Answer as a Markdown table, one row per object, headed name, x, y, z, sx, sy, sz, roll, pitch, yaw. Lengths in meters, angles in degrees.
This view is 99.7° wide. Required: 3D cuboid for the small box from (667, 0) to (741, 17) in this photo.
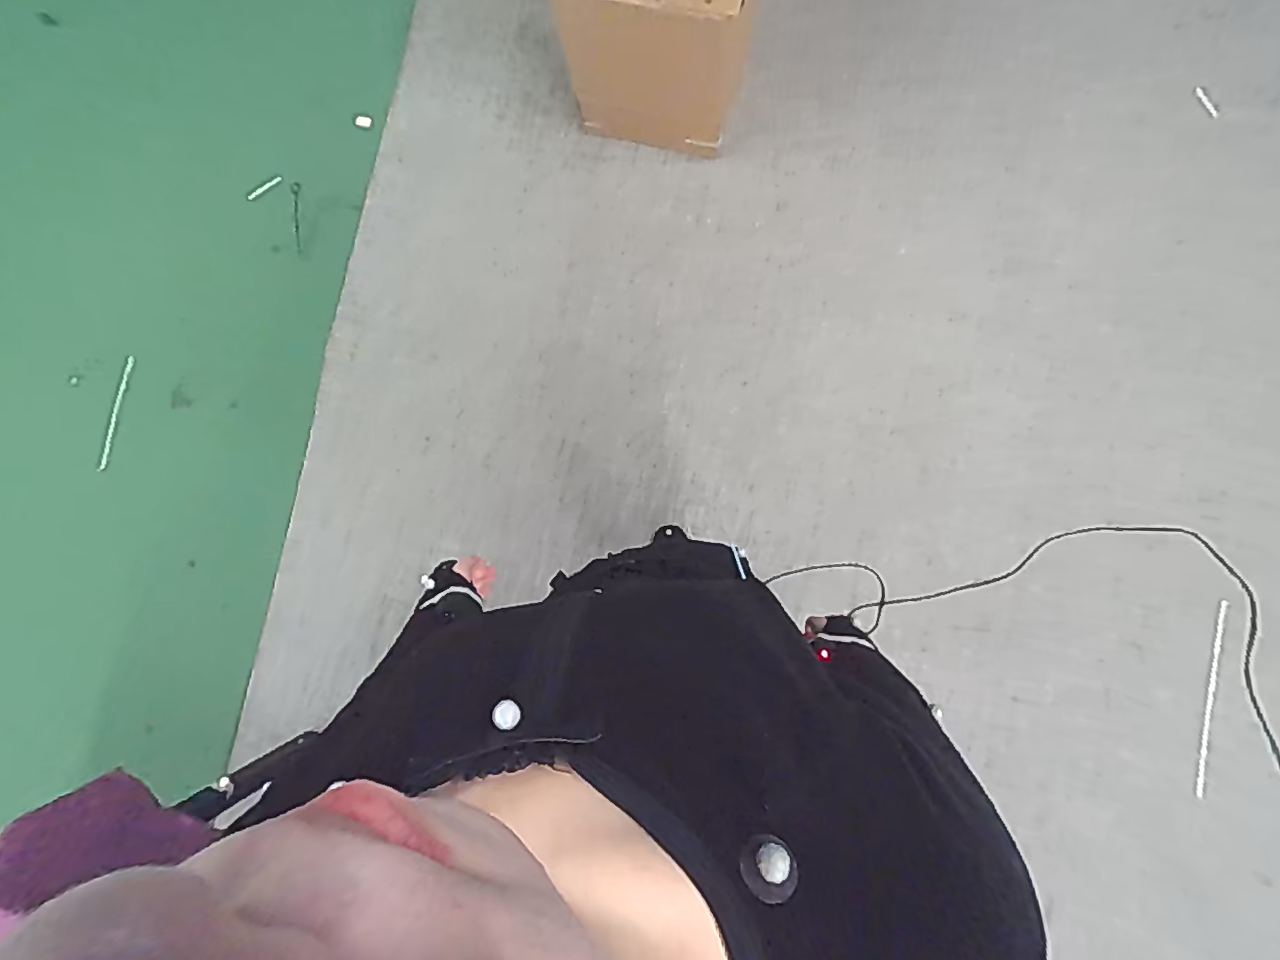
| name | x | y | z | sx | sy | sz | roll | pitch | yaw |
| --- | --- | --- | --- | --- | --- | --- | --- | --- | --- |
| small box | 0.132 | -1.051 | 1.041 | 0.168 | 0.176 | 0.179 | 14 | 87 | 6 |
